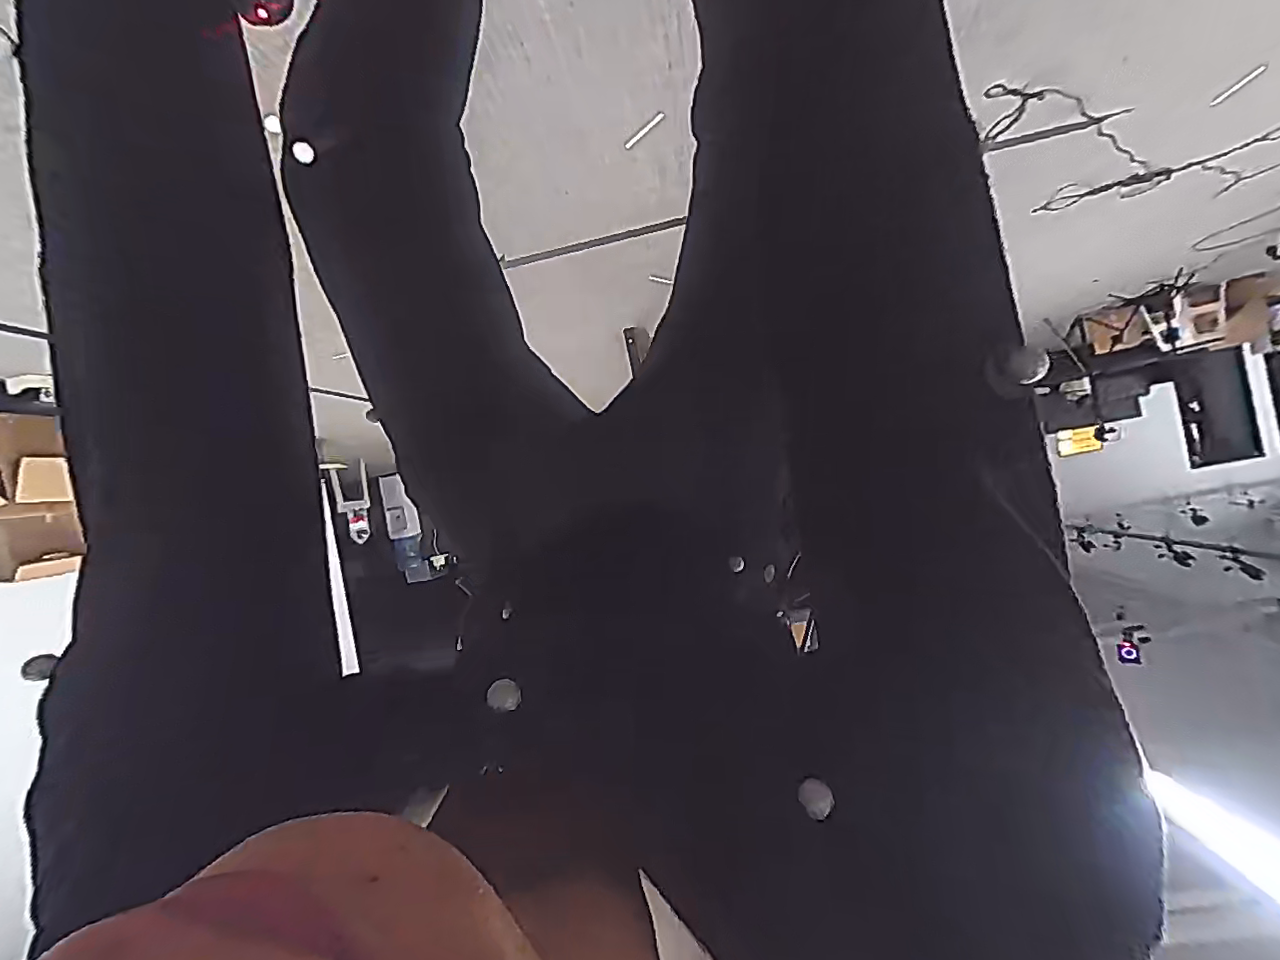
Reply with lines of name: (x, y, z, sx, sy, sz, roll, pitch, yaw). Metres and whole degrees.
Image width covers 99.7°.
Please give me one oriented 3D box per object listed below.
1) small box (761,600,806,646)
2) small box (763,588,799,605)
small box: (0.696, 0.695, 2.647, 0.179, 0.176, 0.168, -11, 180, 7)
small box: (0.762, 0.685, 2.891, 0.168, 0.176, 0.179, -12, 180, 7)
